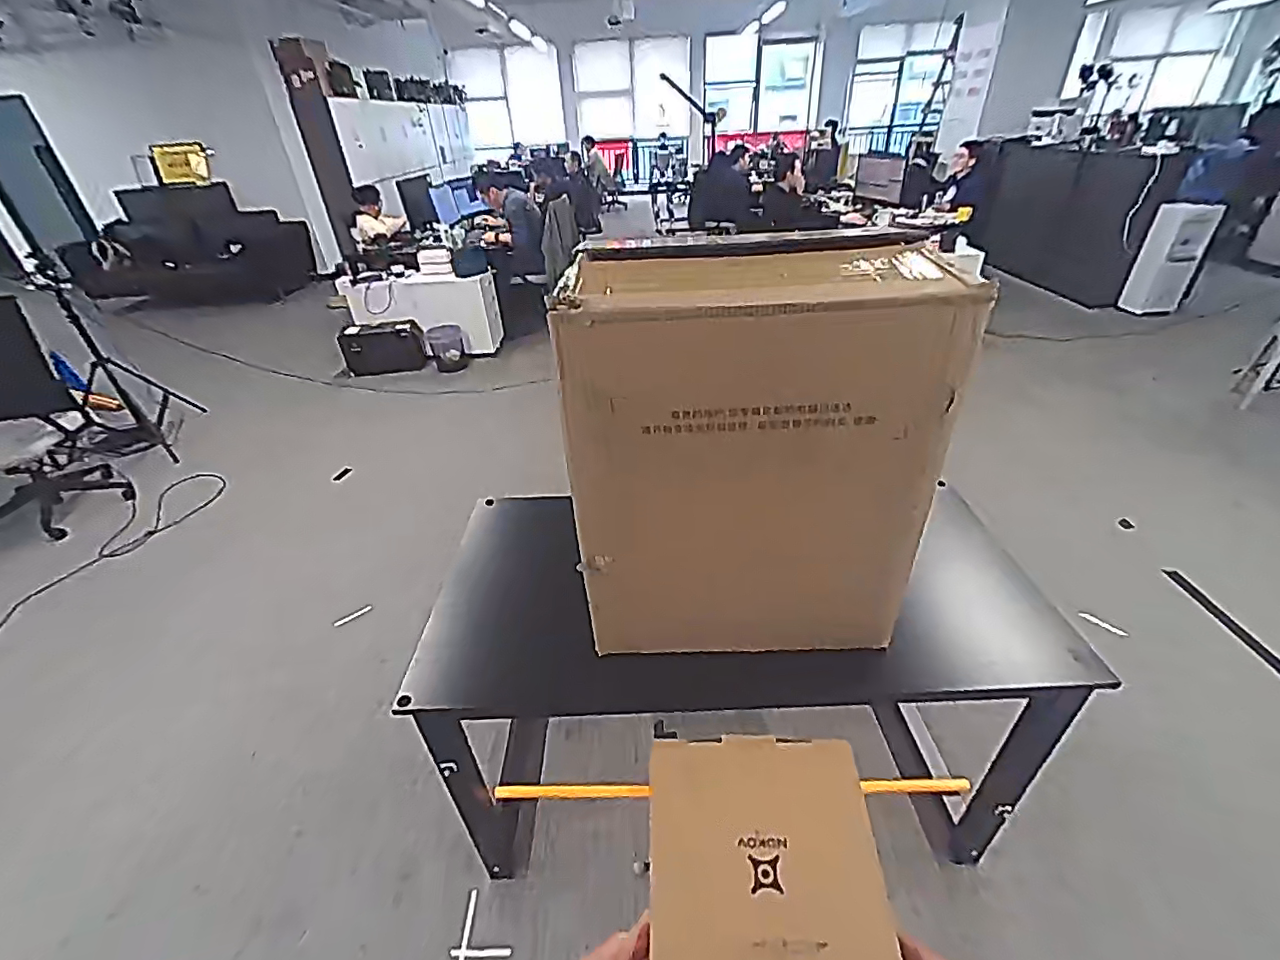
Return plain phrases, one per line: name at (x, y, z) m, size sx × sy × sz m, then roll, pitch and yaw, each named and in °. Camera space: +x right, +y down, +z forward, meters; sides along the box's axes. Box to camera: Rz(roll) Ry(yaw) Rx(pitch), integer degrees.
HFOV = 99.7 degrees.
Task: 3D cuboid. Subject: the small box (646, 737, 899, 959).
small box at (0.089, 0.331, 0.444) m, size 0.168 × 0.176 × 0.179 m, roll 0°, pitch 47°, yaw 2°
